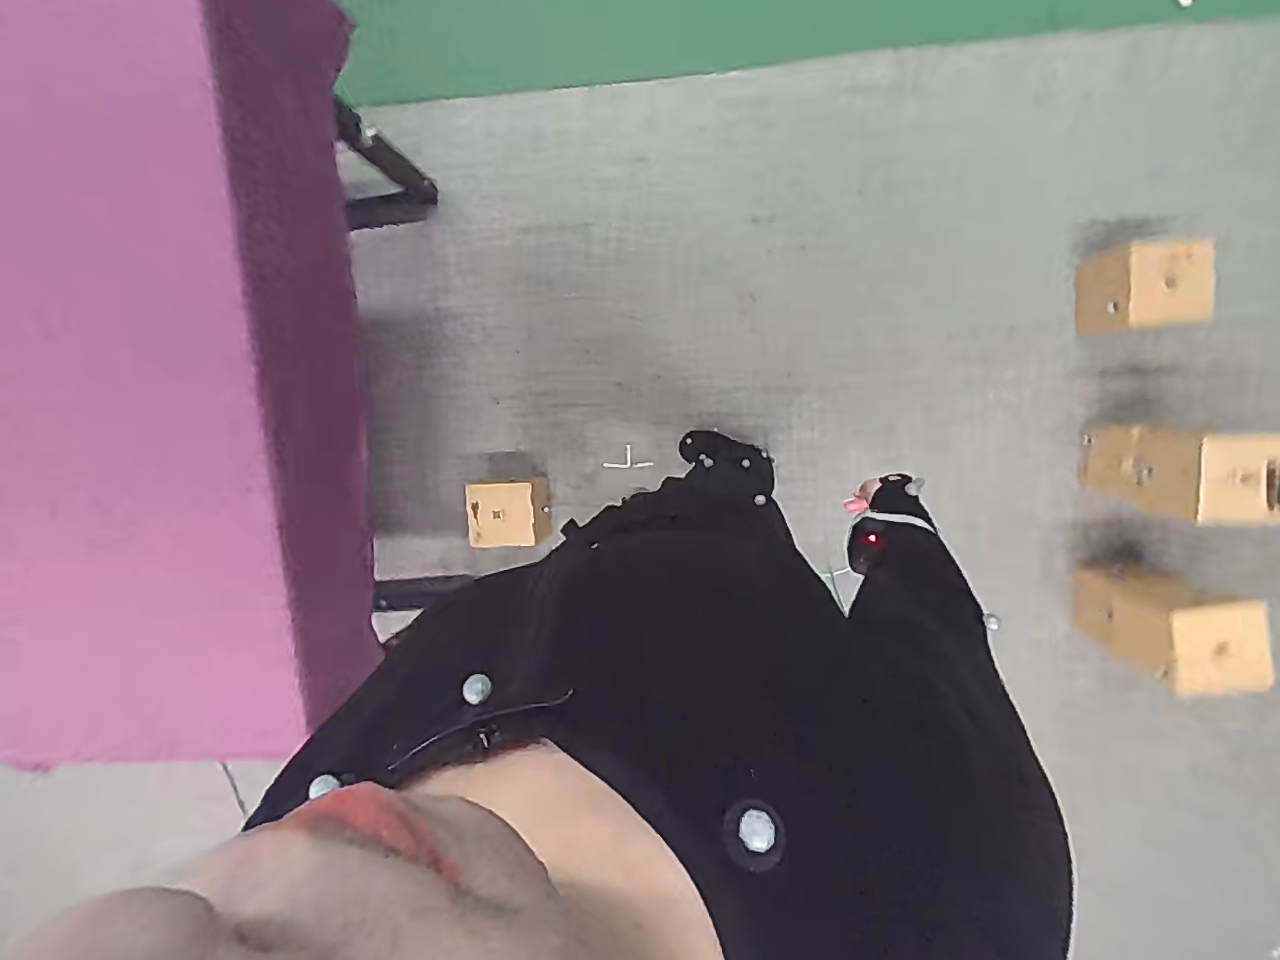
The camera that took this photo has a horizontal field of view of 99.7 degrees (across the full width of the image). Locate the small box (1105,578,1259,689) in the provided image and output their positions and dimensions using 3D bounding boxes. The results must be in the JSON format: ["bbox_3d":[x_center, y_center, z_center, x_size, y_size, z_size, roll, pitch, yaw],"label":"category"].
[{"bbox_3d":[1.139,0.317,1.151,0.168,0.176,0.179,-9,95,8],"label":"small box"}]

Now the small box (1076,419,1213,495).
[{"bbox_3d":[1.171,-0.056,1.271,0.179,0.176,0.168,-2,96,6],"label":"small box"}]

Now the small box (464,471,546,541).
[{"bbox_3d":[-0.357,0.067,1.467,0.179,0.176,0.168,-1,97,6],"label":"small box"}]

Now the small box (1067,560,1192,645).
[{"bbox_3d":[1.174,0.296,1.309,0.168,0.176,0.179,-4,96,8],"label":"small box"}]

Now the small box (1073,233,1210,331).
[{"bbox_3d":[1.131,-0.441,1.234,0.168,0.176,0.179,-3,96,6],"label":"small box"}]
